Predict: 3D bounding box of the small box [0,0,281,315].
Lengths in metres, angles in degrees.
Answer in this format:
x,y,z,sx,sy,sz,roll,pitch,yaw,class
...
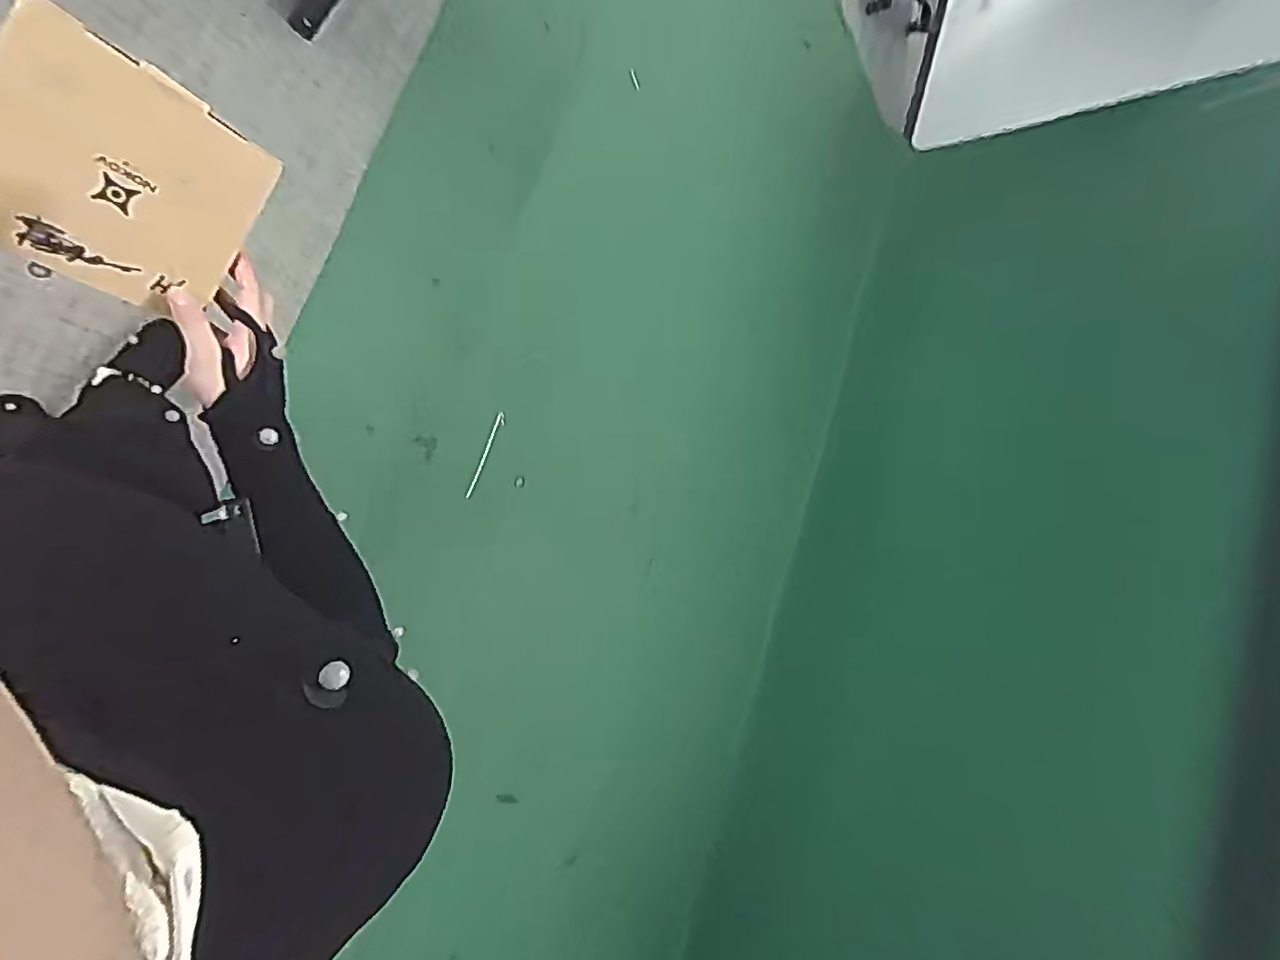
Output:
x,y,z,sx,sy,sz,roll,pitch,yaw,class
-0.459,-0.282,0.474,0.168,0.176,0.179,27,99,-50,small box
